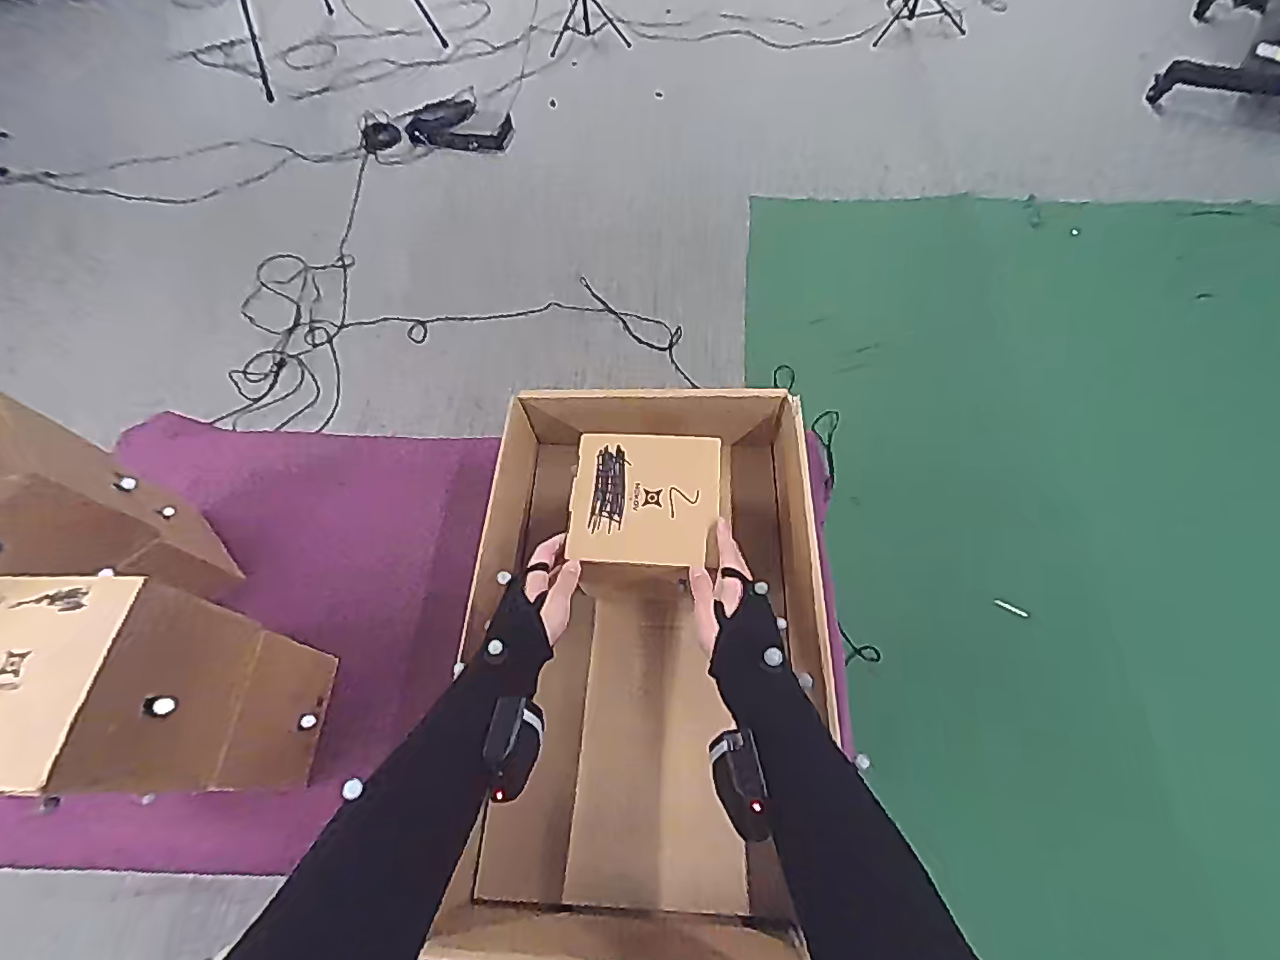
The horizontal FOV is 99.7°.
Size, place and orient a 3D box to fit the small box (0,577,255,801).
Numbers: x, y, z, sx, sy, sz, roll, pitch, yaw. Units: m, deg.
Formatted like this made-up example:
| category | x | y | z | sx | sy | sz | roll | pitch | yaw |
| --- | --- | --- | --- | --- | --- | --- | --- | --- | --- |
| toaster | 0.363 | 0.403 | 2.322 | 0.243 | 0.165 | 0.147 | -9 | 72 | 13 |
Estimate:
| category | x | y | z | sx | sy | sz | roll | pitch | yaw |
| --- | --- | --- | --- | --- | --- | --- | --- | --- | --- |
| small box | -0.525 | 0.203 | 0.523 | 0.168 | 0.176 | 0.179 | 0 | 61 | 2 |

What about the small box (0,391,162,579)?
| category | x | y | z | sx | sy | sz | roll | pitch | yaw |
| --- | --- | --- | --- | --- | --- | --- | --- | --- | --- |
| small box | -0.728 | 0.036 | 0.625 | 0.168 | 0.176 | 0.179 | 41 | 70 | 20 |

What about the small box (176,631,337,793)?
| category | x | y | z | sx | sy | sz | roll | pitch | yaw |
| --- | --- | --- | --- | --- | --- | --- | --- | --- | --- |
| small box | -0.517 | 0.288 | 0.664 | 0.179 | 0.176 | 0.168 | -1 | 61 | 2 |

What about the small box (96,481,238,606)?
| category | x | y | z | sx | sy | sz | roll | pitch | yaw |
| --- | --- | --- | --- | --- | --- | --- | --- | --- | --- |
| small box | -0.727 | 0.117 | 0.766 | 0.179 | 0.176 | 0.168 | 40 | 70 | 21 |
